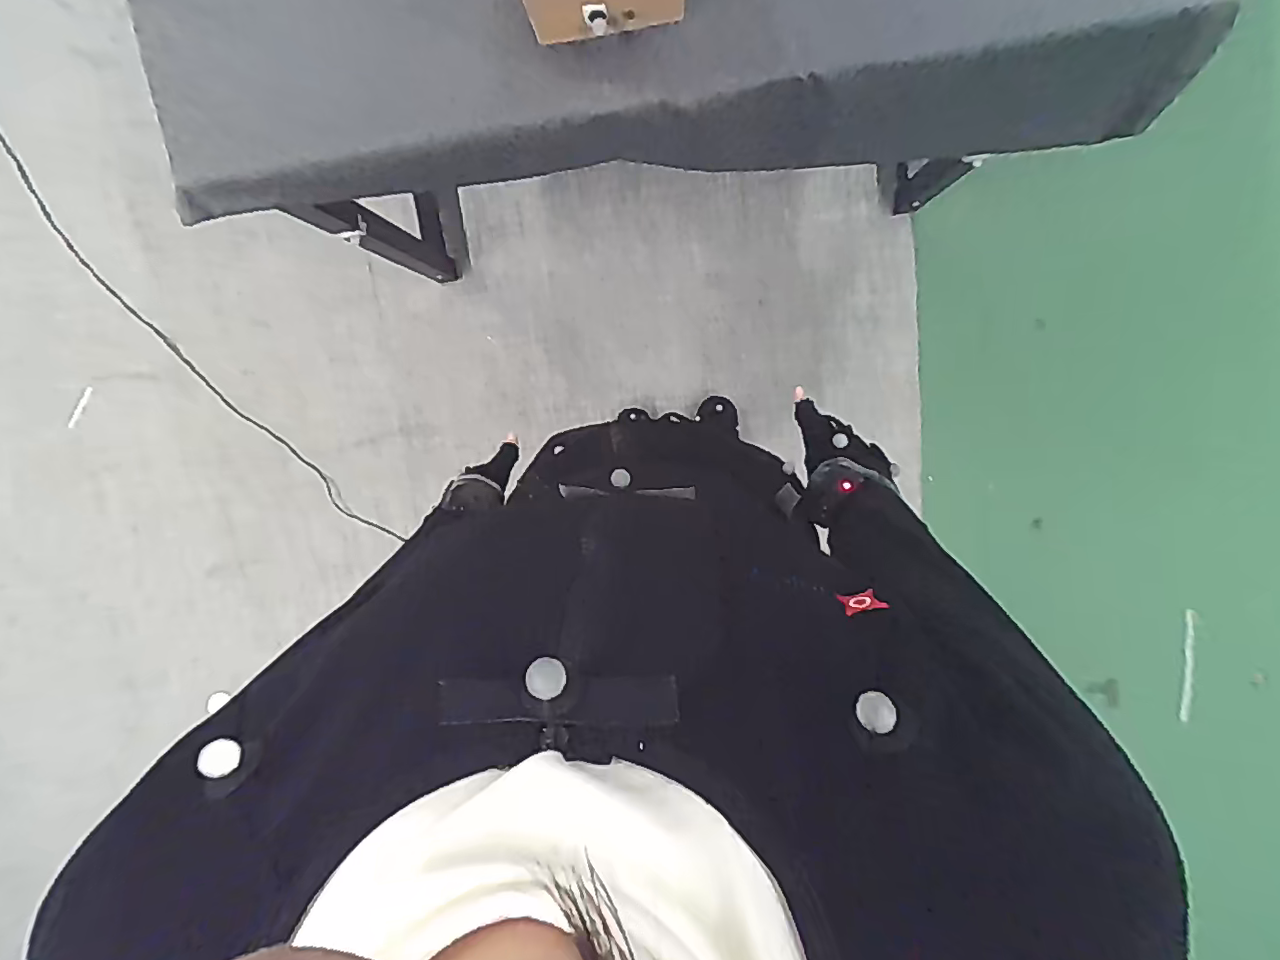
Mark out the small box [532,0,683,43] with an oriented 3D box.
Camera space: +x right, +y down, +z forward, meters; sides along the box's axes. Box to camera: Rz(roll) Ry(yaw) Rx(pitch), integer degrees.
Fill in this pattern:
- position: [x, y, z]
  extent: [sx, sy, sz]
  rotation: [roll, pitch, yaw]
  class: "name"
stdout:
- position: [-0.048, -0.579, 0.519]
  extent: [0.168, 0.176, 0.179]
  rotation: [-8, 99, 6]
  class: "small box"
